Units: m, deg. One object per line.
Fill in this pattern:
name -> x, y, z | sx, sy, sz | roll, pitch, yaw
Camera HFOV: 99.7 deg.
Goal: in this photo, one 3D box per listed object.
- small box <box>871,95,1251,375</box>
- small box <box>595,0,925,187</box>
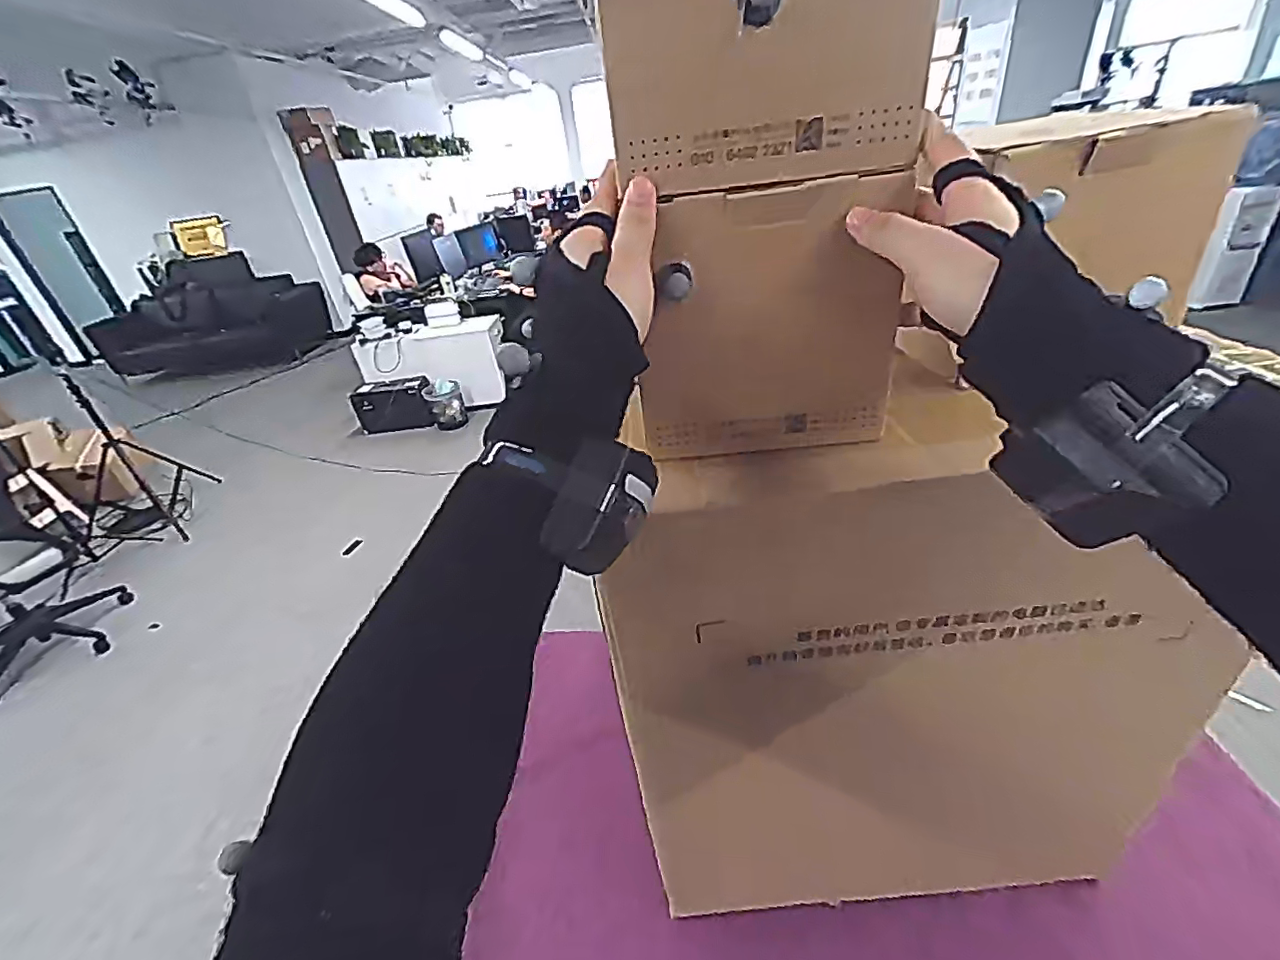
small box -> 0.311, -0.203, 0.455 | 0.168, 0.176, 0.179 | -9, 32, 2
small box -> 0.060, -0.281, 0.326 | 0.168, 0.176, 0.179 | -5, 31, 3
